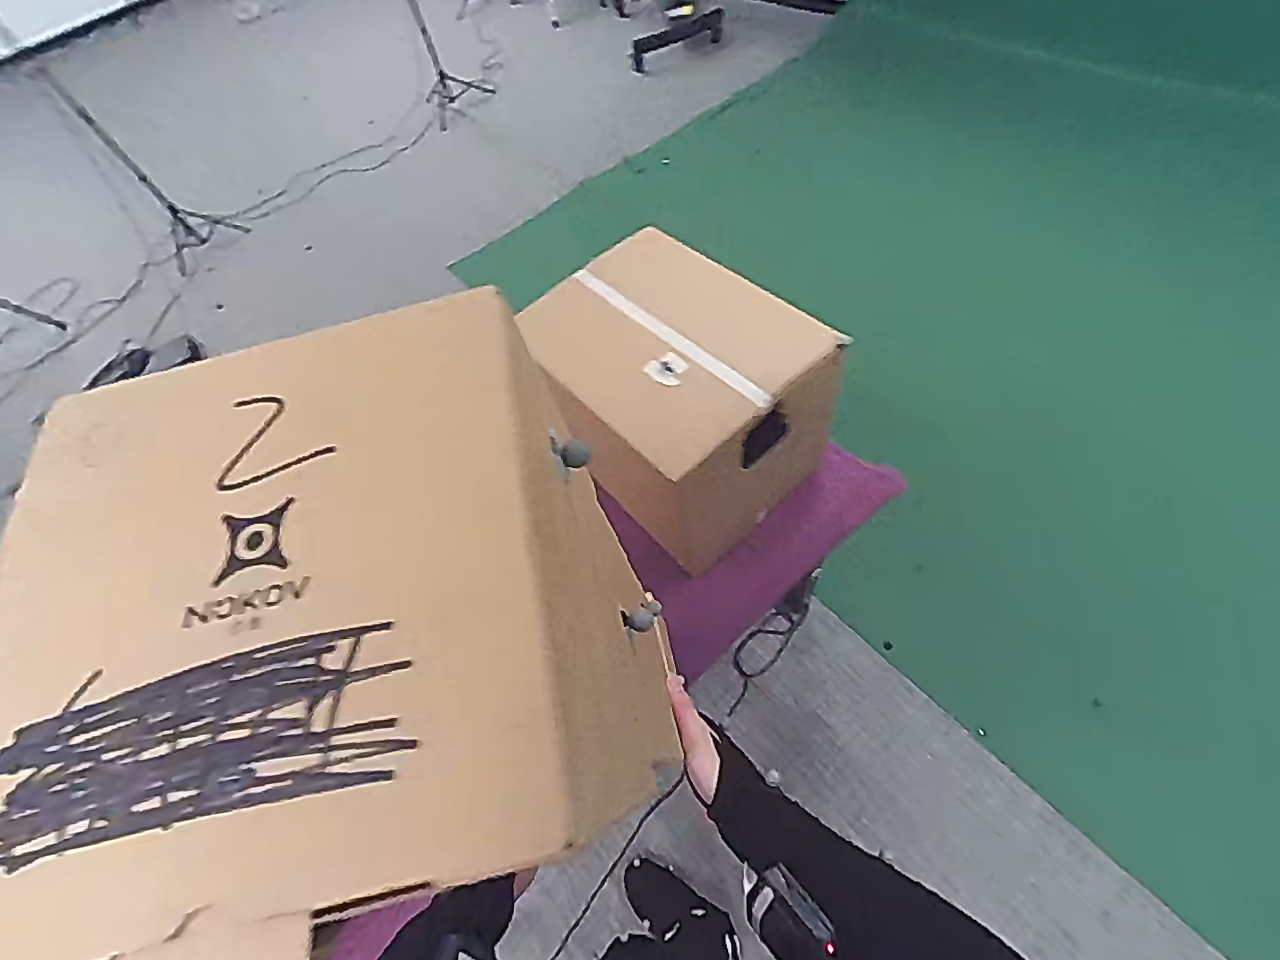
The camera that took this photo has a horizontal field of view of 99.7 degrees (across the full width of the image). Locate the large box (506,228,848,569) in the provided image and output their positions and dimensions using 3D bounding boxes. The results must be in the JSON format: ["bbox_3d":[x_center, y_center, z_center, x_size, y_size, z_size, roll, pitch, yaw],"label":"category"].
[{"bbox_3d":[0.054,-0.134,0.892,0.320,0.320,0.408,-40,61,-13],"label":"large box"}]

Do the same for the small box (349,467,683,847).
[{"bbox_3d":[-0.072,0.120,0.372,0.168,0.176,0.179,-16,64,0],"label":"small box"}]
